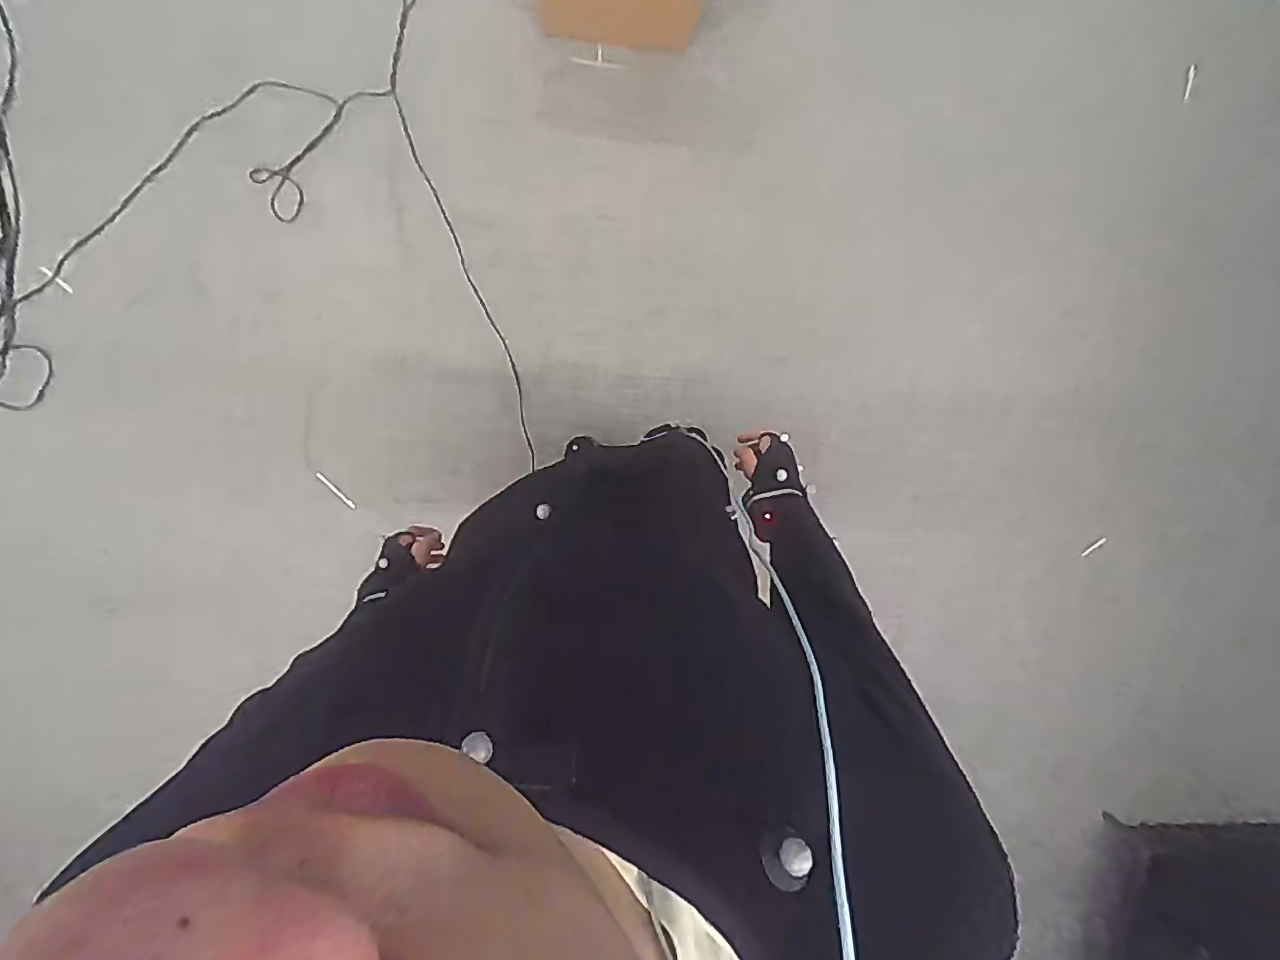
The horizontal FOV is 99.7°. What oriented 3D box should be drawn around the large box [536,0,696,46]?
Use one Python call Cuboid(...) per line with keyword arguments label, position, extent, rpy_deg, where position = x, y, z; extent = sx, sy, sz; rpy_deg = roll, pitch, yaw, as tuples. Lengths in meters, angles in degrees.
Cuboid(label="large box", position=(-0.060, -1.331, 1.316), extent=(0.408, 0.320, 0.320), rpy_deg=(1, 98, -5))
